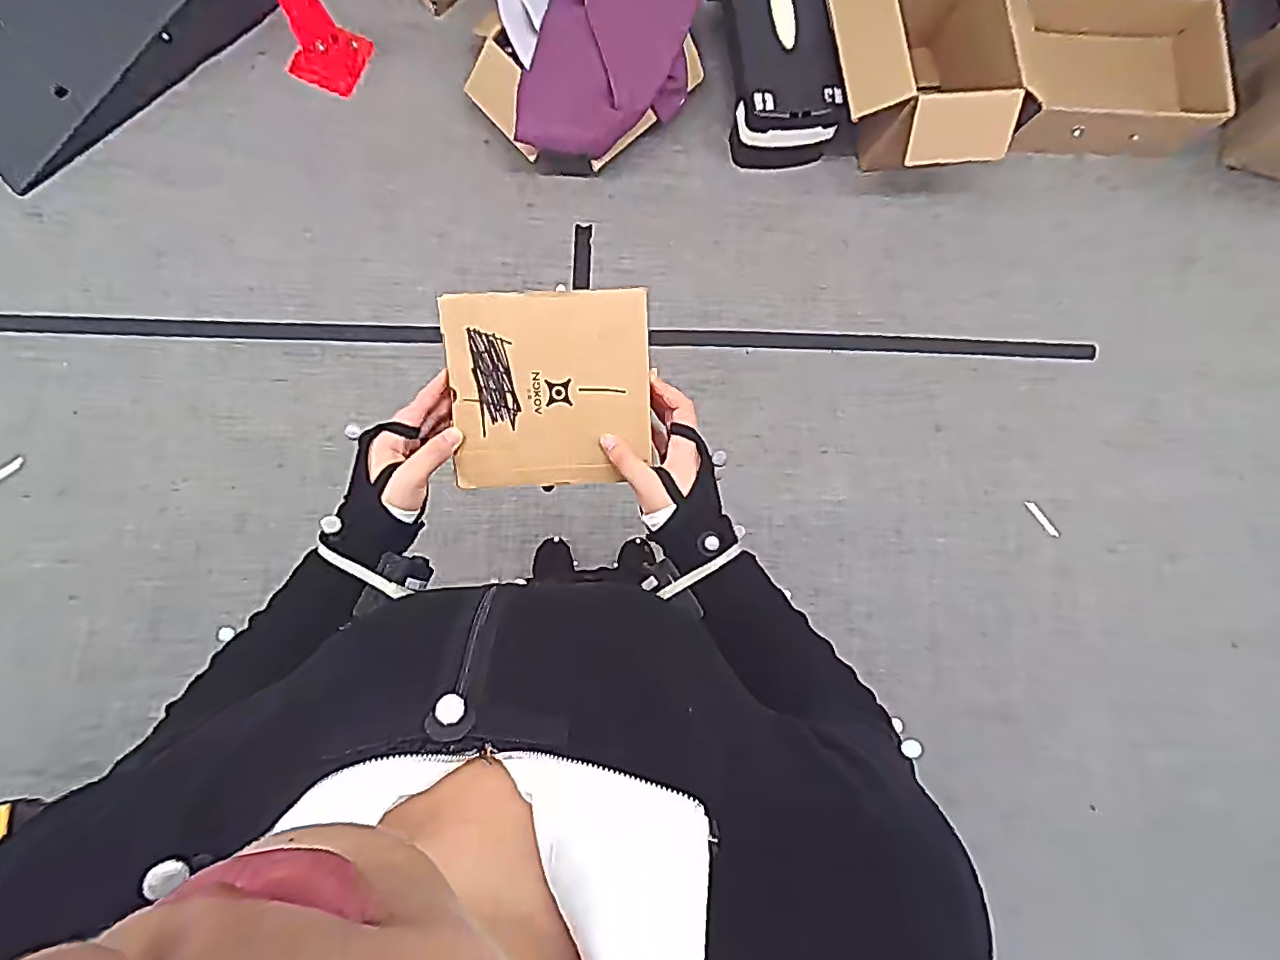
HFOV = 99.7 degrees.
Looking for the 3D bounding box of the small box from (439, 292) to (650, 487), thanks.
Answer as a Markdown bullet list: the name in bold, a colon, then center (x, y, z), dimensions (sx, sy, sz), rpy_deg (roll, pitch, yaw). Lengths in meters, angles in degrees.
- **small box**: center (-0.080, -0.089, 0.541), dimensions (0.179, 0.176, 0.168), rpy_deg (-2, 101, -1)
